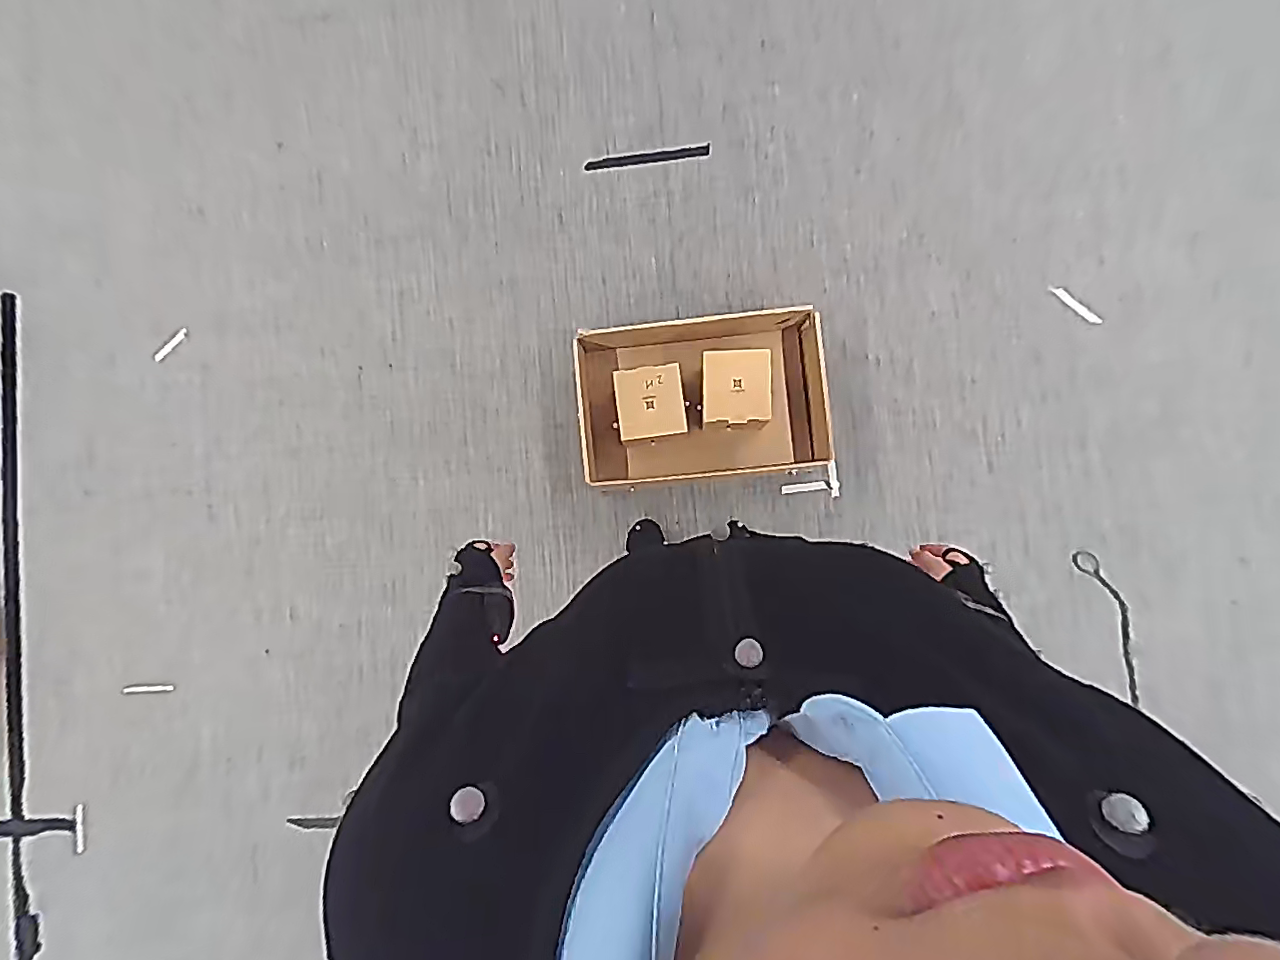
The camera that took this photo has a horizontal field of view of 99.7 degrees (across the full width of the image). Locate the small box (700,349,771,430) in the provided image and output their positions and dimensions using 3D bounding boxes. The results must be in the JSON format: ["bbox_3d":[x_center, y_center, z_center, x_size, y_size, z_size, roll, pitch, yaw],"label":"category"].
[{"bbox_3d":[0.240,-0.228,1.391,0.168,0.176,0.179,0,88,4],"label":"small box"}]

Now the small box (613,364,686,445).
[{"bbox_3d":[0.026,-0.188,1.399,0.168,0.176,0.179,-7,87,1],"label":"small box"}]
